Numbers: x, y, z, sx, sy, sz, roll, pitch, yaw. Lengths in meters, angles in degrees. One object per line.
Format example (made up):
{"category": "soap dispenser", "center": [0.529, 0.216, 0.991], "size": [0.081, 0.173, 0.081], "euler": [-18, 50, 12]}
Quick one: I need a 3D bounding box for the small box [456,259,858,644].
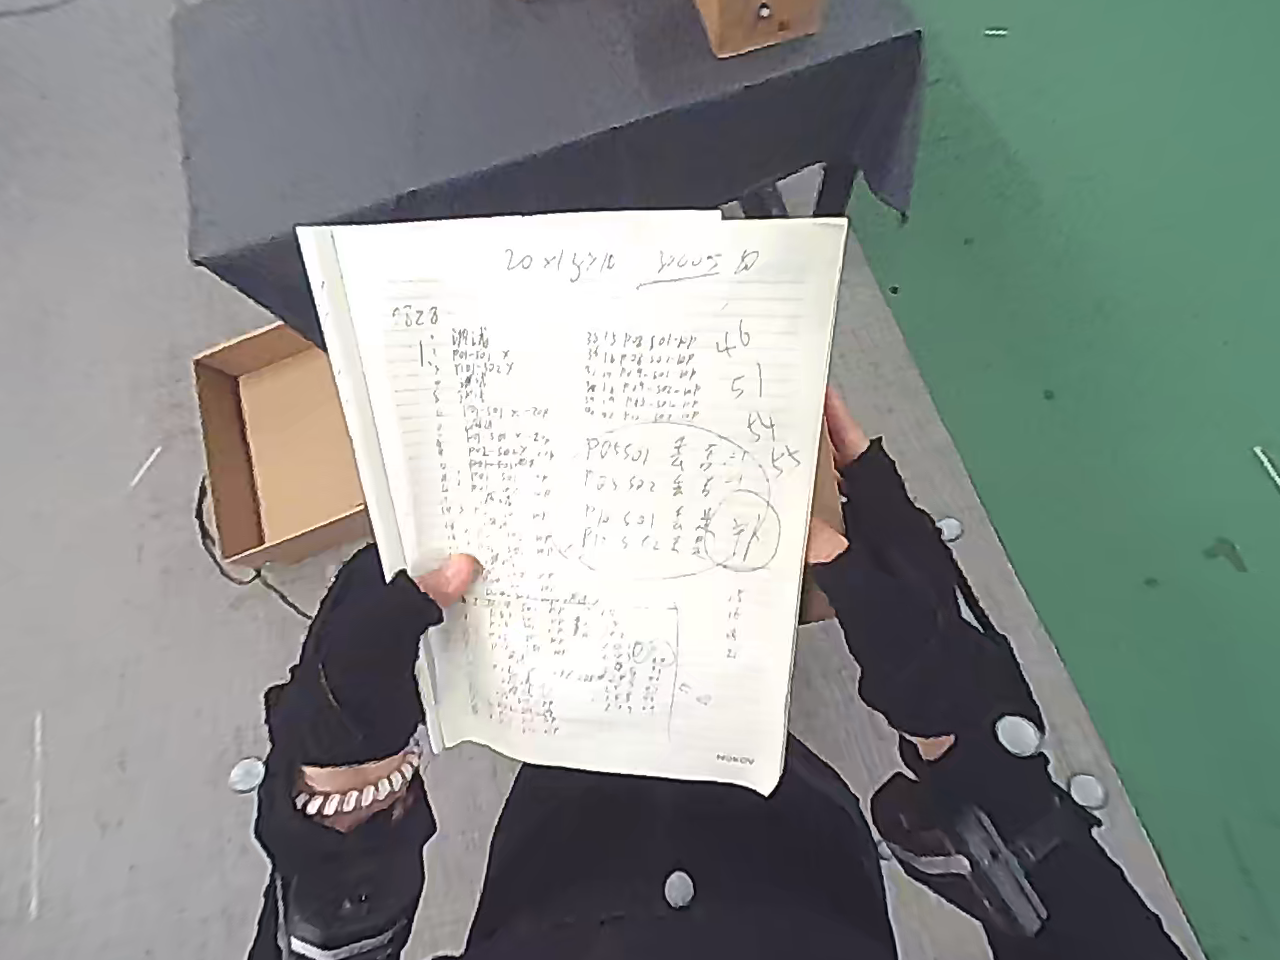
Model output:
{"category": "small box", "center": [0.014, -0.019, 0.345], "size": [0.179, 0.176, 0.168], "euler": [-12, 98, 4]}

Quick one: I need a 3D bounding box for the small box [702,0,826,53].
{"category": "small box", "center": [0.183, -0.796, 0.807], "size": [0.168, 0.176, 0.179], "euler": [-14, 73, 2]}
